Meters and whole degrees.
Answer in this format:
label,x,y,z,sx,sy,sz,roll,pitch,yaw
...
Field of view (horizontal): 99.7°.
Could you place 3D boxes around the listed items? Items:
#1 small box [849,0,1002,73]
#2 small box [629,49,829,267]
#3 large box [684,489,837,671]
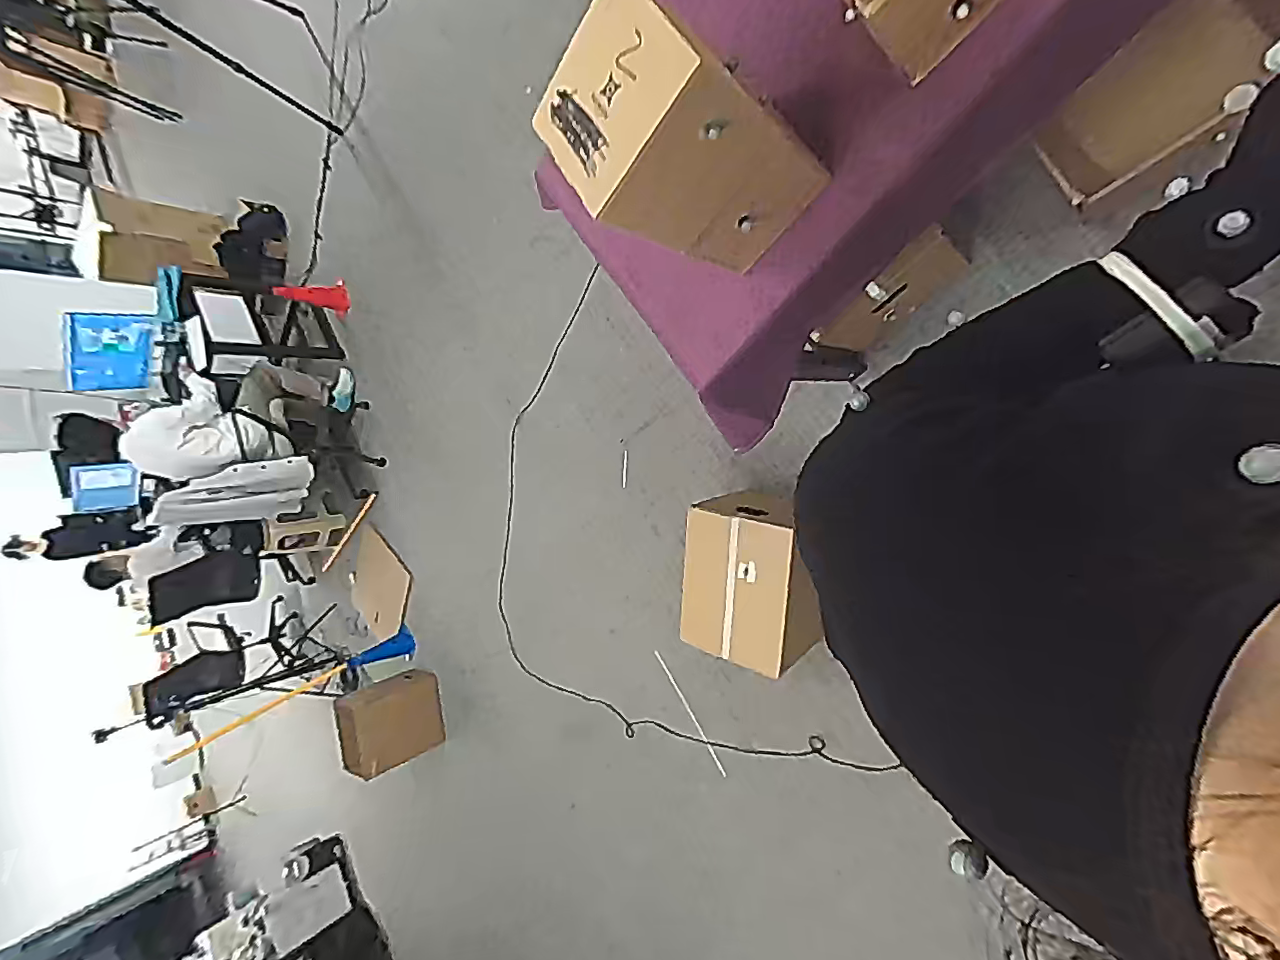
label,x,y,z,sx,sy,sz,roll,pitch,yaw
small box,0.300,-0.589,0.573,0.168,0.176,0.179,-36,75,38
small box,0.124,-0.423,0.747,0.179,0.176,0.168,-42,71,37
large box,0.345,0.260,1.548,0.320,0.320,0.408,11,104,38
